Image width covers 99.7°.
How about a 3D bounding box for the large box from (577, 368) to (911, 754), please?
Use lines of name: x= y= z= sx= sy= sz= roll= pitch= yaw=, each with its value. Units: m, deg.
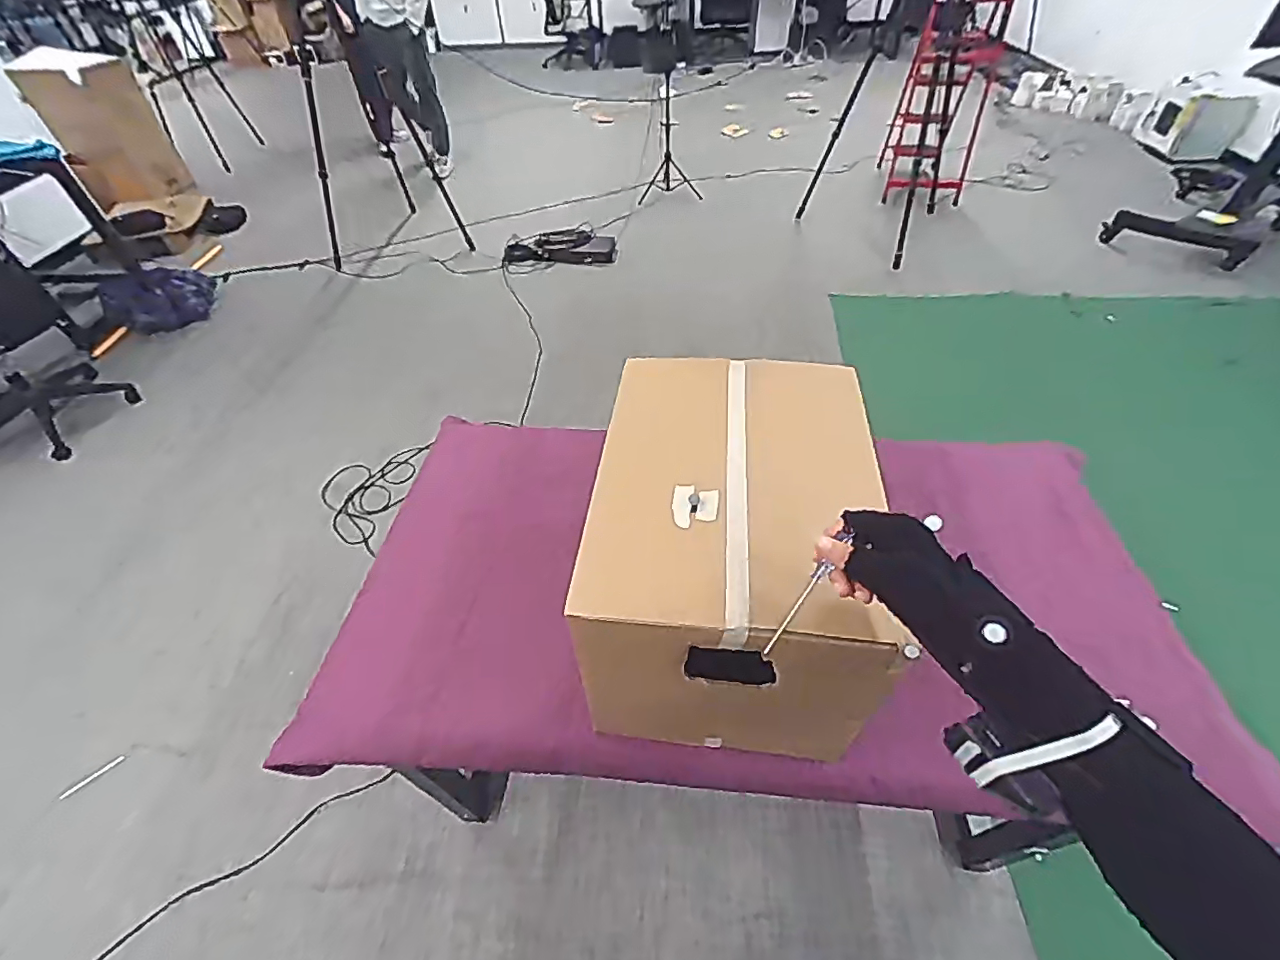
large box: x=0.115 y=0.099 z=0.733 sx=0.320 sy=0.320 sz=0.408 roll=4 pitch=48 yaw=7
